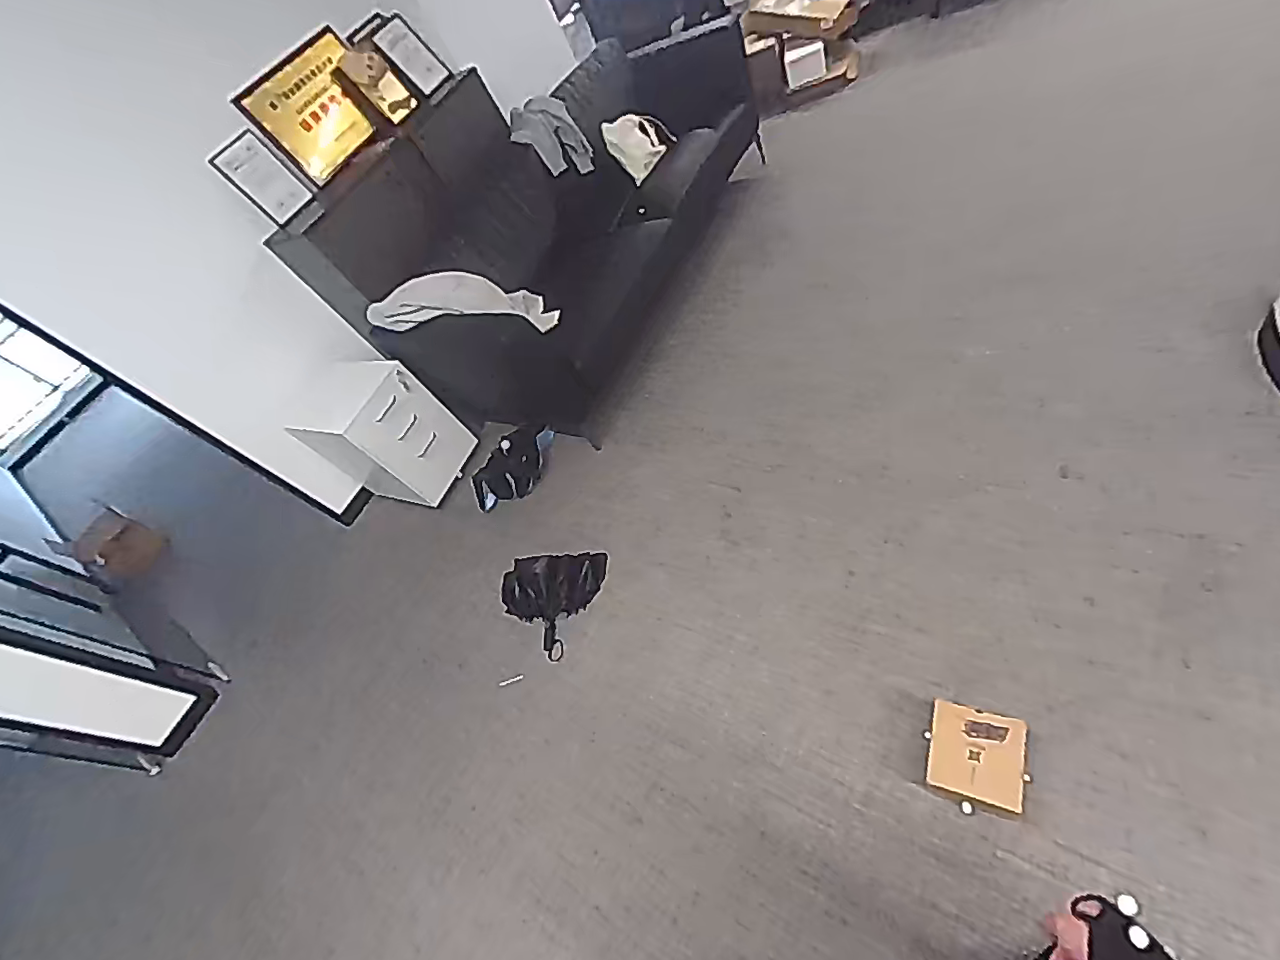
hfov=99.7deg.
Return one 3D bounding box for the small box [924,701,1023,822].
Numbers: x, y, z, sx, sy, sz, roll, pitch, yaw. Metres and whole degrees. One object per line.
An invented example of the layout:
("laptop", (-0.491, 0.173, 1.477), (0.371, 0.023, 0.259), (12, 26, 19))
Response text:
("small box", (0.719, 0.611, 1.173), (0.168, 0.176, 0.179), (5, 59, 33))
